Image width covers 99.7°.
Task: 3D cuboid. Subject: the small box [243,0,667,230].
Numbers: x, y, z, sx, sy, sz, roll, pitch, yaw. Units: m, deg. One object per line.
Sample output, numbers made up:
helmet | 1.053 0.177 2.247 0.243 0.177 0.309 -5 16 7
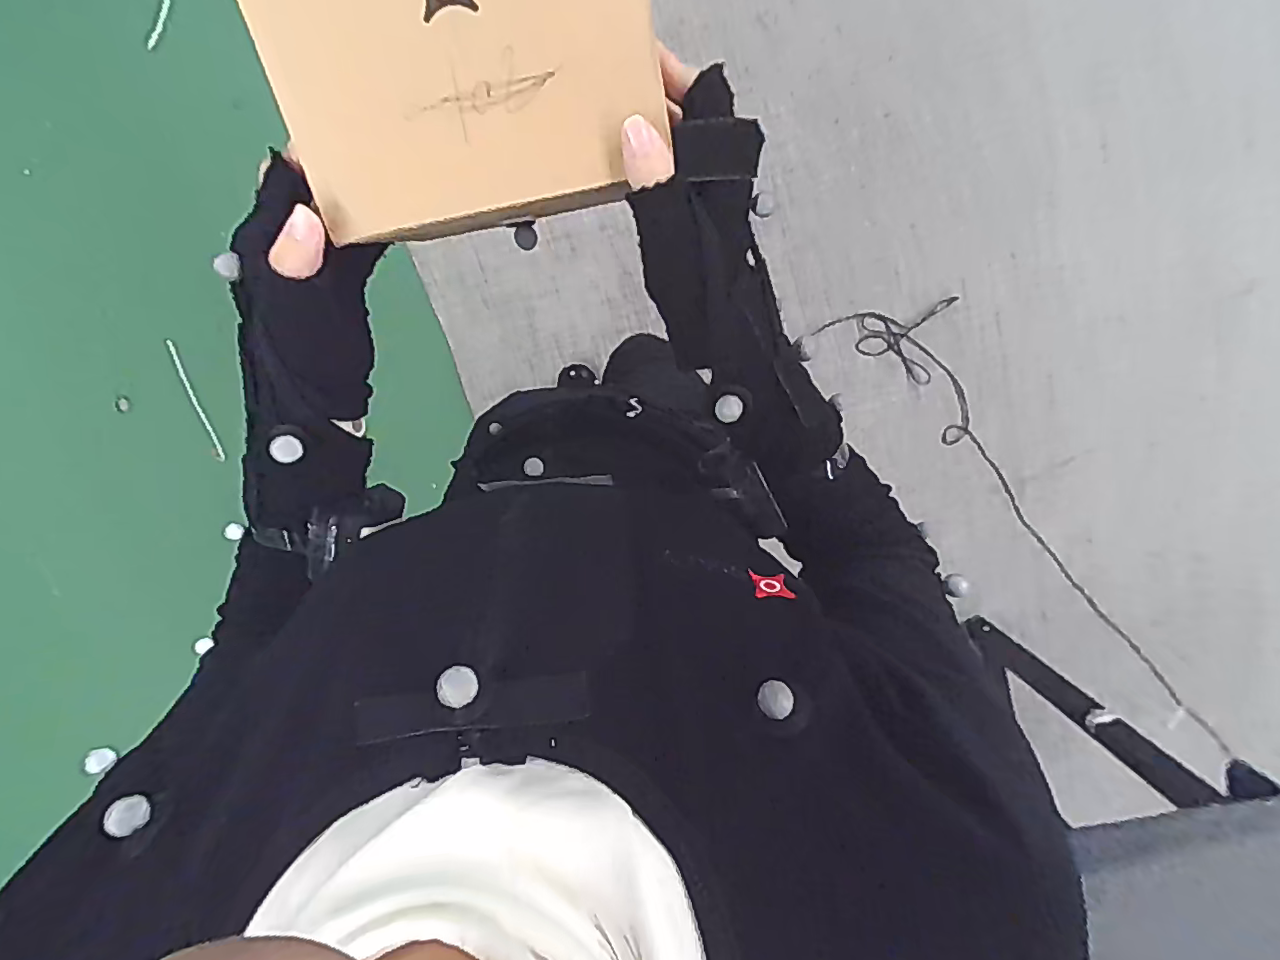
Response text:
small box | -0.085 -0.243 0.291 0.168 0.176 0.179 -10 115 3
